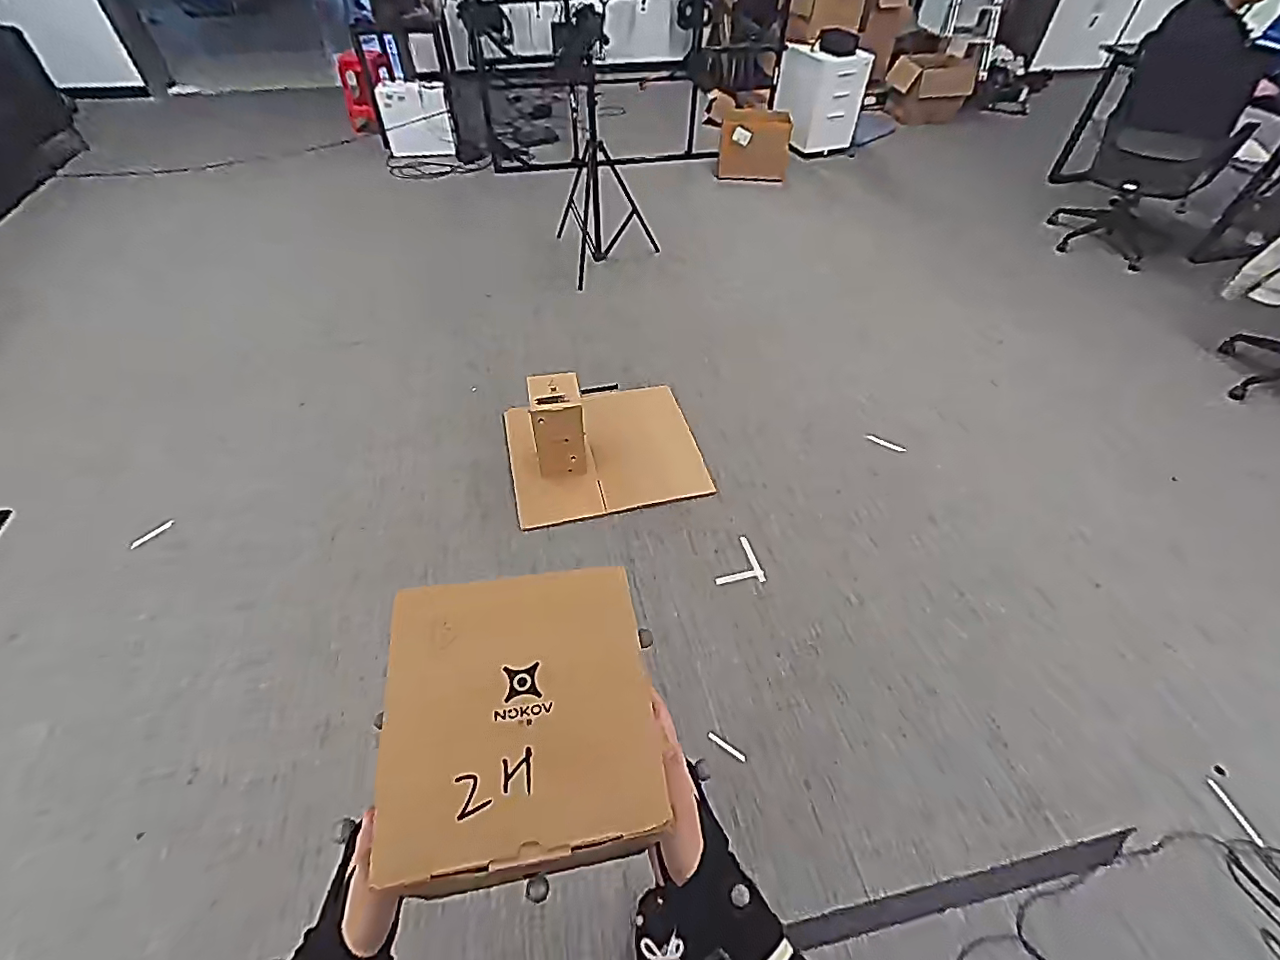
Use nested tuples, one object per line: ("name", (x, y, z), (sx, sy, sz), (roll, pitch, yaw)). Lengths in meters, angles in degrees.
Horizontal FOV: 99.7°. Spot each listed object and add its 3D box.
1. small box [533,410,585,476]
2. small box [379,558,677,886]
("small box", (-0.290, -0.127, 1.953), (0.168, 0.176, 0.179), (-7, 49, -9))
("small box", (-0.081, 0.182, 0.409), (0.168, 0.176, 0.179), (-5, 53, -12))
